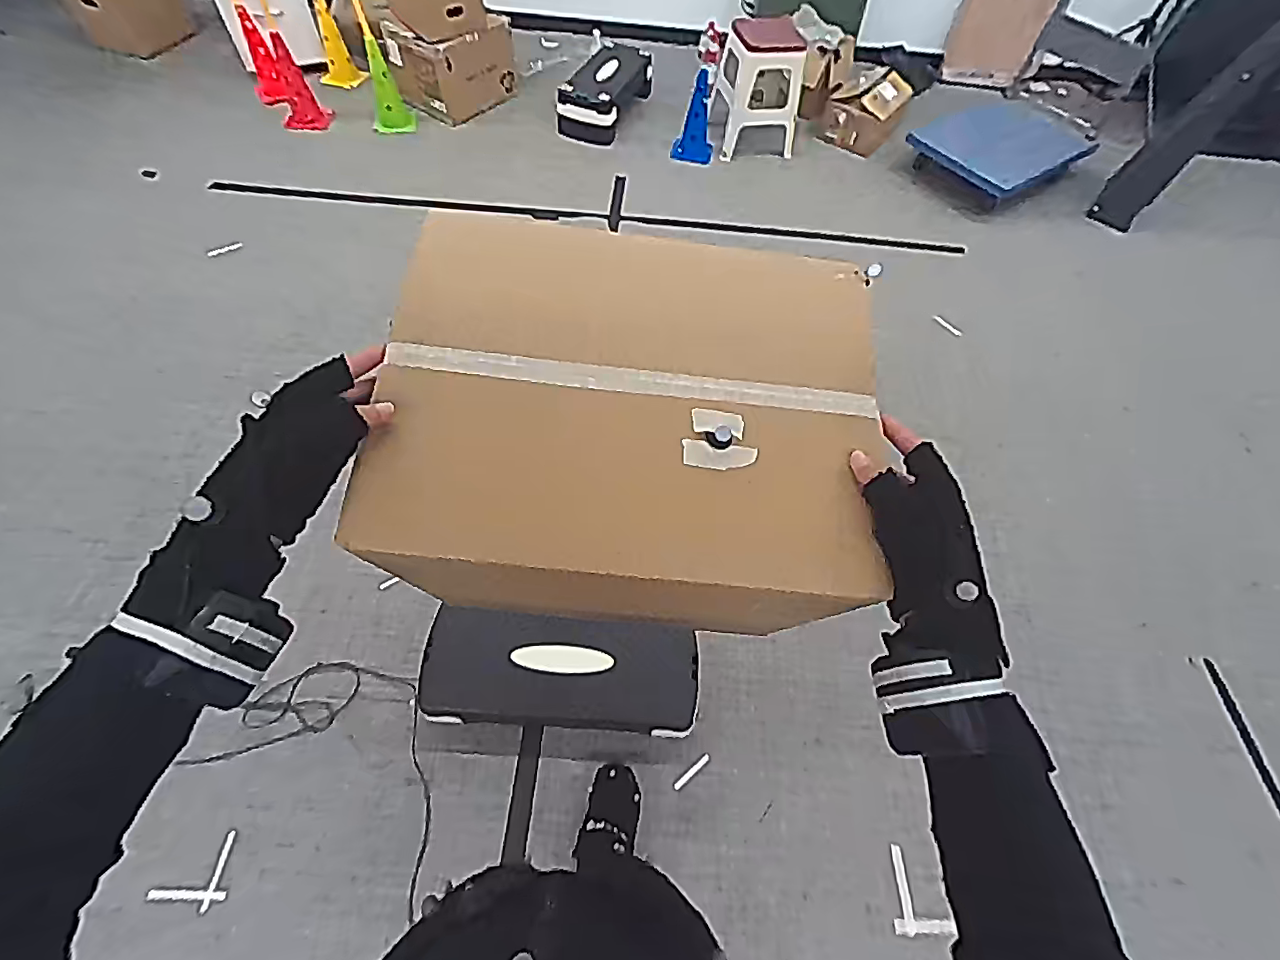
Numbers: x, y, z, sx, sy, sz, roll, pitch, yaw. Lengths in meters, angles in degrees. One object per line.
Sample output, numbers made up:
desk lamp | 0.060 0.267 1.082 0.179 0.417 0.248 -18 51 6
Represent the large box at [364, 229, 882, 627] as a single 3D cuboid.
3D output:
large box | -0.014 -0.022 0.598 0.408 0.320 0.320 6 70 -4
